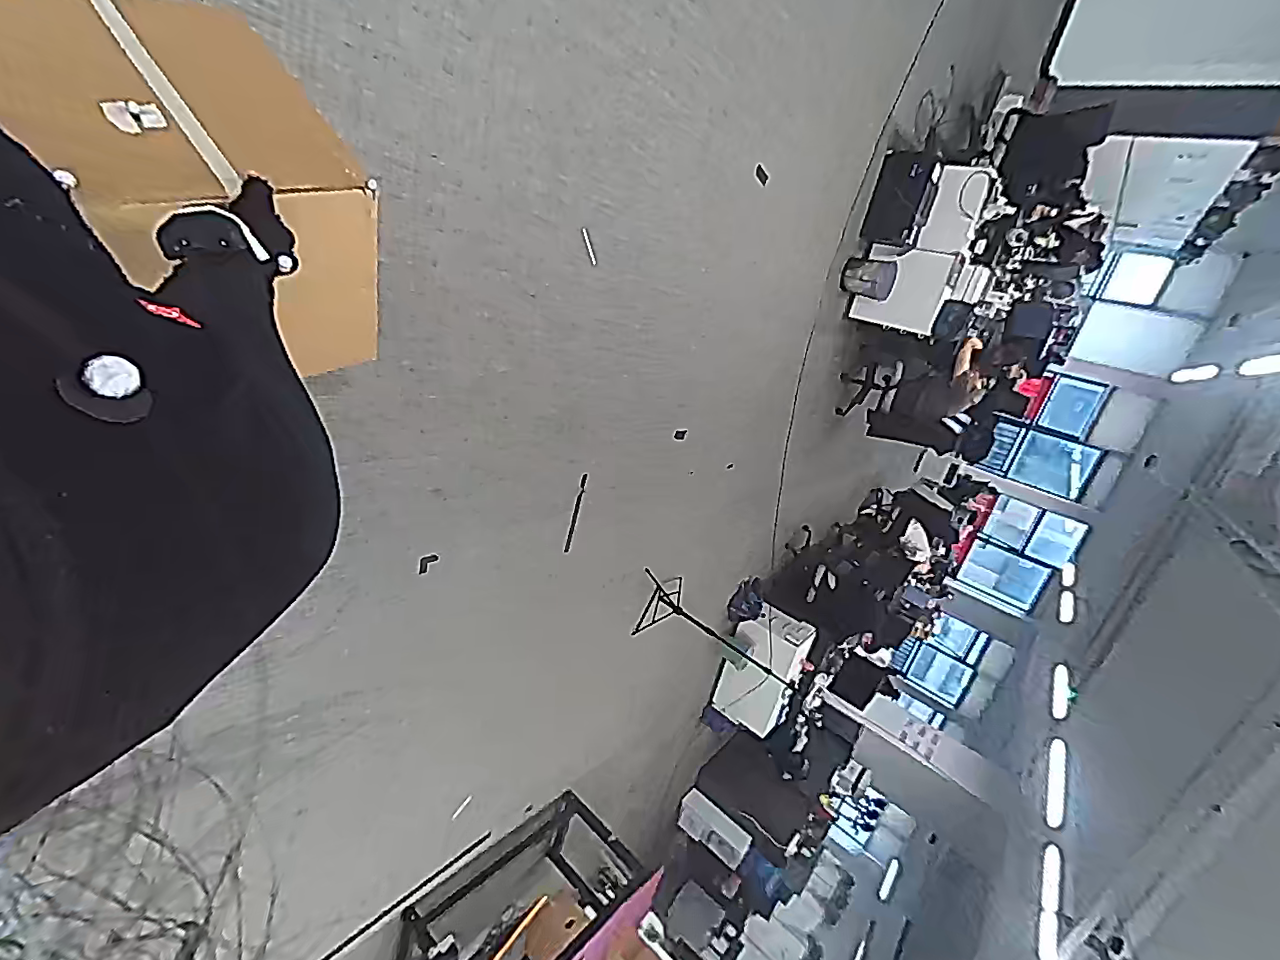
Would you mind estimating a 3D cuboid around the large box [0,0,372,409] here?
[{"bbox_3d":[-0.629,-0.377,0.753,0.320,0.408,0.320,-30,166,-37],"label":"large box"}]
